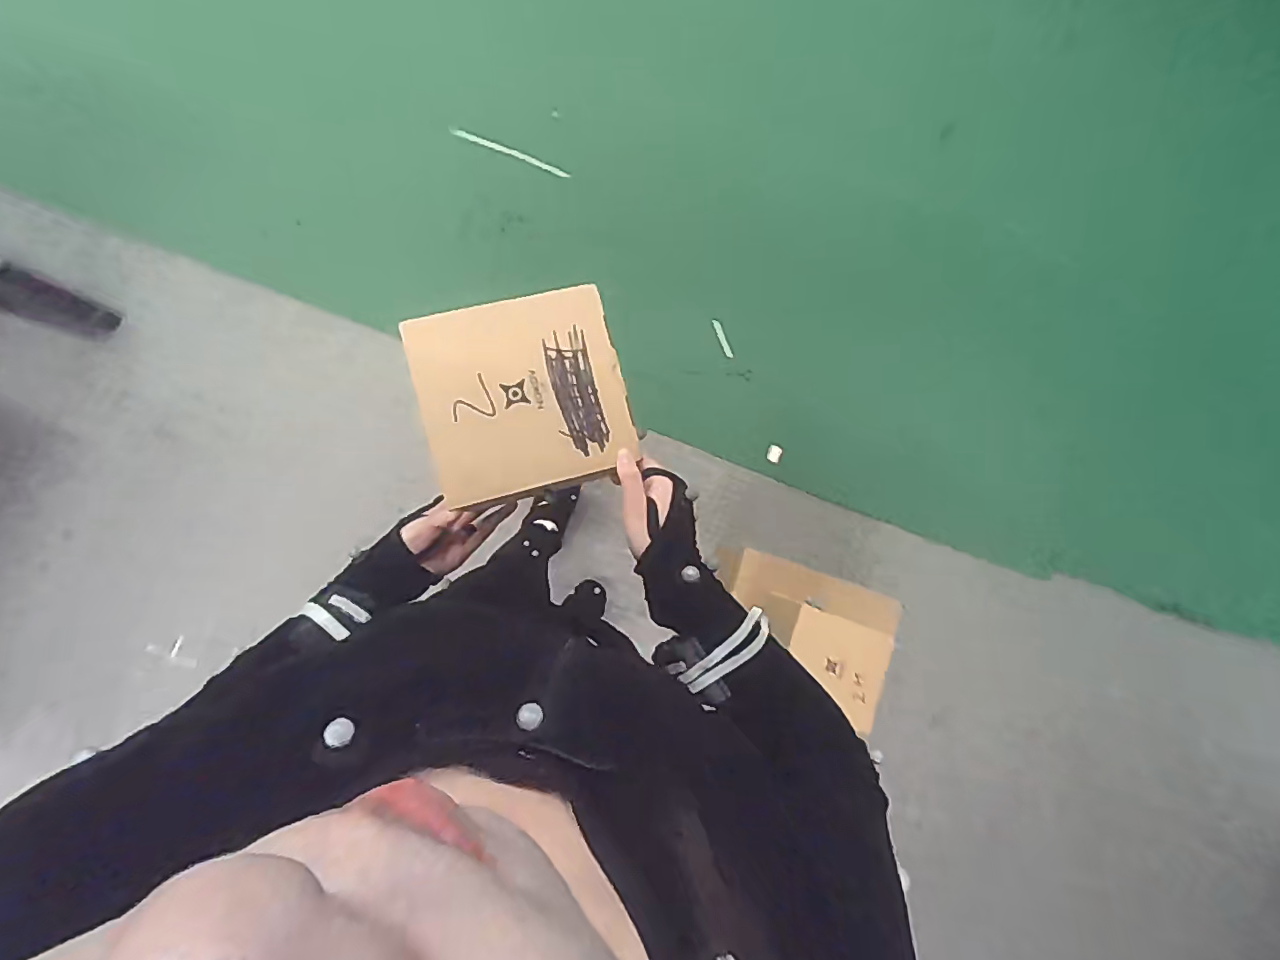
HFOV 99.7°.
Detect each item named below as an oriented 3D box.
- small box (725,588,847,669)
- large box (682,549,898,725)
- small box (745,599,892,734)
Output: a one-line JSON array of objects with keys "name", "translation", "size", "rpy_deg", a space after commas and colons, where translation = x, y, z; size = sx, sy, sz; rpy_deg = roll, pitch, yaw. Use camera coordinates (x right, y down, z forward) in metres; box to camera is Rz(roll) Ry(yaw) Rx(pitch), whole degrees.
[{"name": "small box", "translation": [0.298, 0.334, 1.141], "size": [0.179, 0.176, 0.168], "rpy_deg": [22, 82, -4]}, {"name": "large box", "translation": [0.360, 0.380, 1.388], "size": [0.408, 0.320, 0.320], "rpy_deg": [20, 82, -4]}, {"name": "small box", "translation": [0.310, 0.323, 0.977], "size": [0.179, 0.176, 0.168], "rpy_deg": [22, 83, -4]}]
